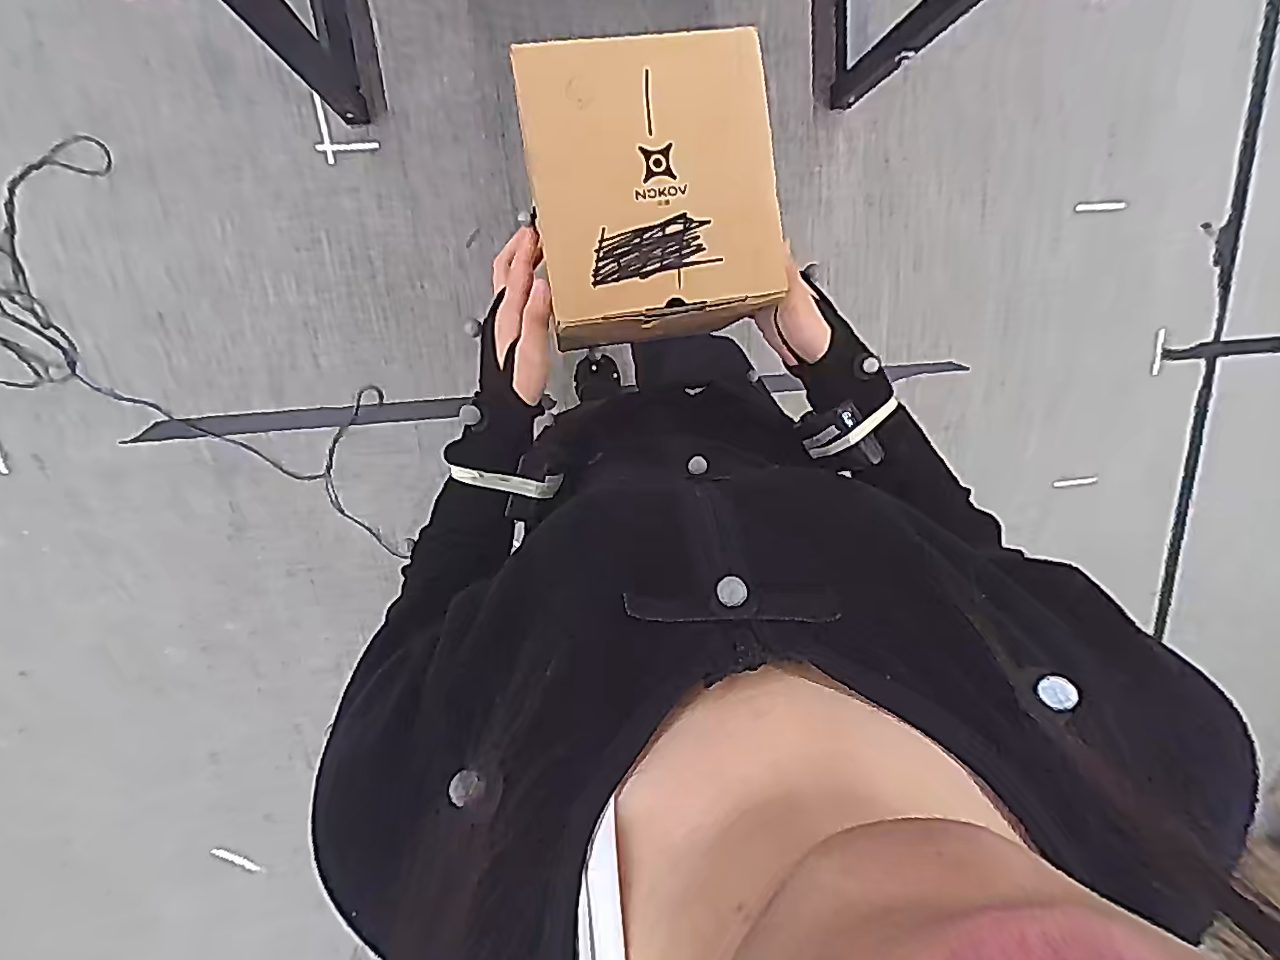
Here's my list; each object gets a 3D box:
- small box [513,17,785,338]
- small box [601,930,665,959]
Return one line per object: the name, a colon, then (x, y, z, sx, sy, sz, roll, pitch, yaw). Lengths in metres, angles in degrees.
small box: (0.001, -0.217, 0.438, 0.168, 0.176, 0.179, -10, 97, -7)
small box: (-0.010, 1.382, 1.479, 0.179, 0.176, 0.168, -7, 104, -5)
